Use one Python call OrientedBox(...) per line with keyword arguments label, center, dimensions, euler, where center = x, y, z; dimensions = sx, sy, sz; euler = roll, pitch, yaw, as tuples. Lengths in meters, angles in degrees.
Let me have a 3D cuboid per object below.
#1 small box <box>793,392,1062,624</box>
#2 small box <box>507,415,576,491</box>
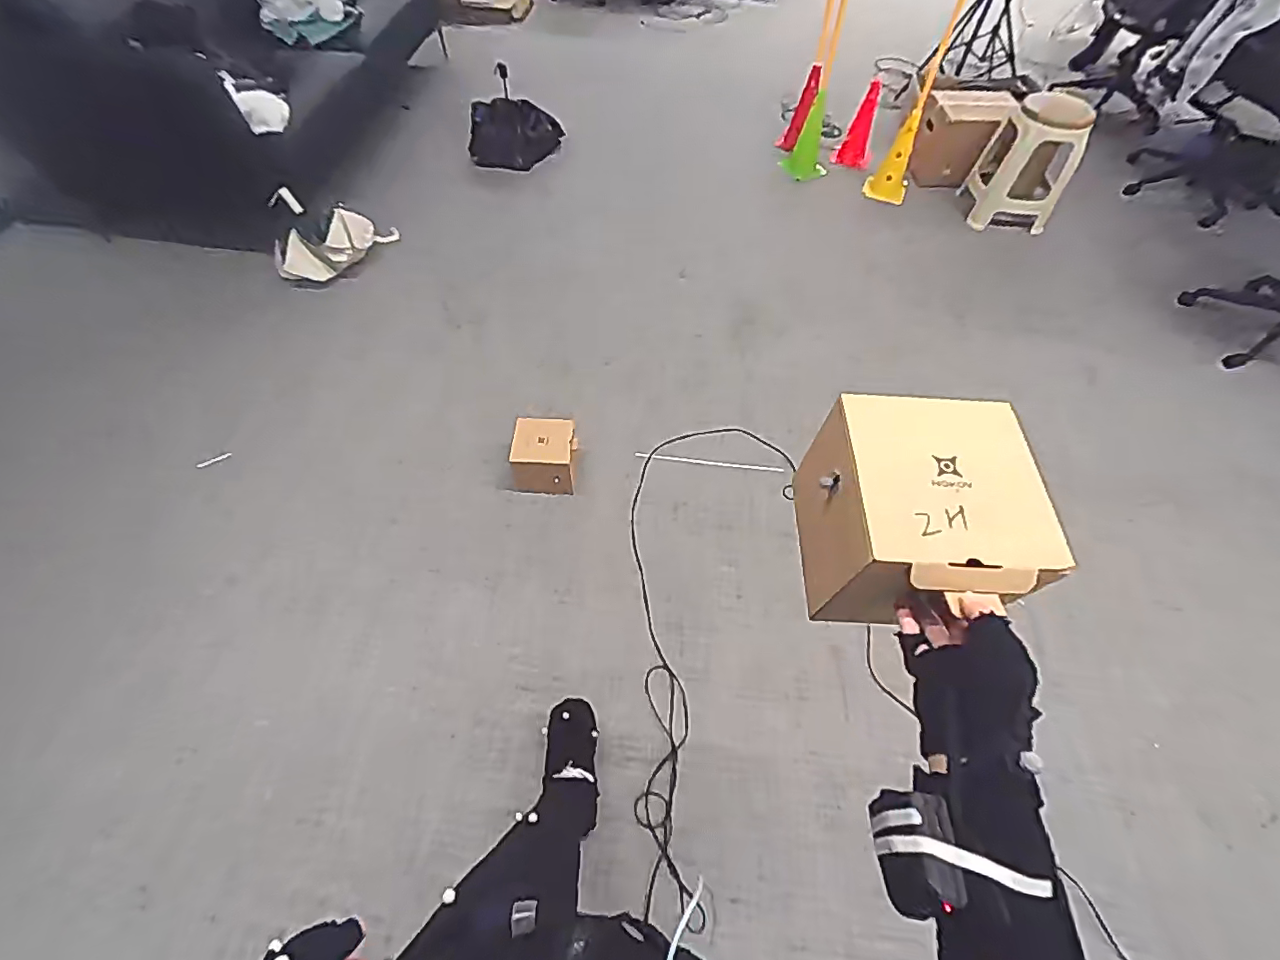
OrientedBox(label="small box", center=(0.265, 0.034, 0.552), dimensions=(0.168, 0.176, 0.179), euler=(3, 60, -1))
OrientedBox(label="small box", center=(-0.289, -0.077, 1.636), dimensions=(0.179, 0.176, 0.168), euler=(2, 57, 0))
